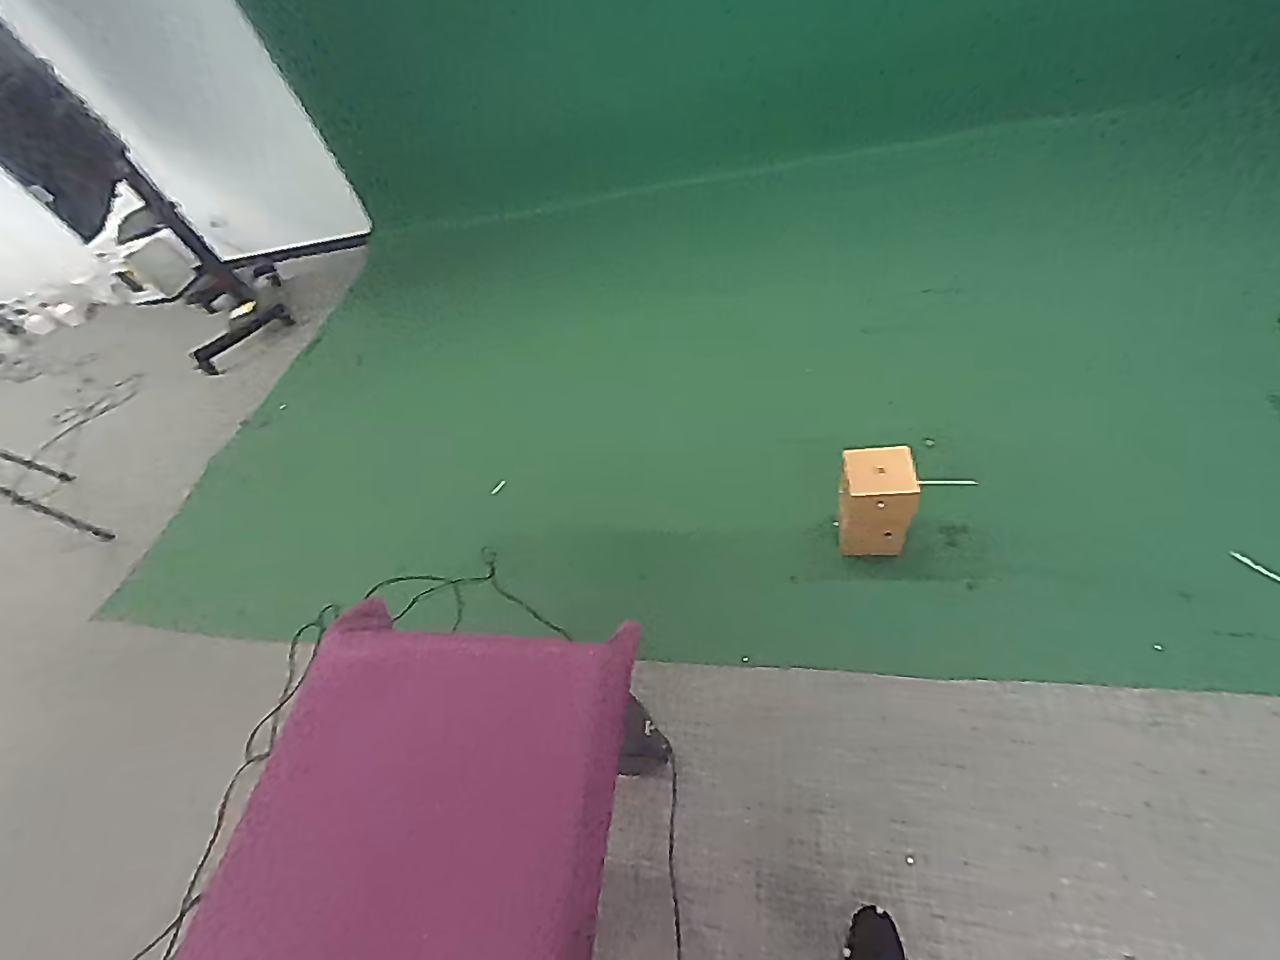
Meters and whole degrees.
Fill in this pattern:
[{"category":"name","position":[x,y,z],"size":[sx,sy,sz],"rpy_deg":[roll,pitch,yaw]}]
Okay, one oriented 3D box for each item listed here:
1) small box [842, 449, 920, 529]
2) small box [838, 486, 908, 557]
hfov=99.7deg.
[{"category":"small box","position":[0.691,0.030,1.566],"size":[0.179,0.176,0.168],"rpy_deg":[-5,52,15]},{"category":"small box","position":[0.721,0.130,1.691],"size":[0.179,0.176,0.168],"rpy_deg":[-2,52,16]}]
